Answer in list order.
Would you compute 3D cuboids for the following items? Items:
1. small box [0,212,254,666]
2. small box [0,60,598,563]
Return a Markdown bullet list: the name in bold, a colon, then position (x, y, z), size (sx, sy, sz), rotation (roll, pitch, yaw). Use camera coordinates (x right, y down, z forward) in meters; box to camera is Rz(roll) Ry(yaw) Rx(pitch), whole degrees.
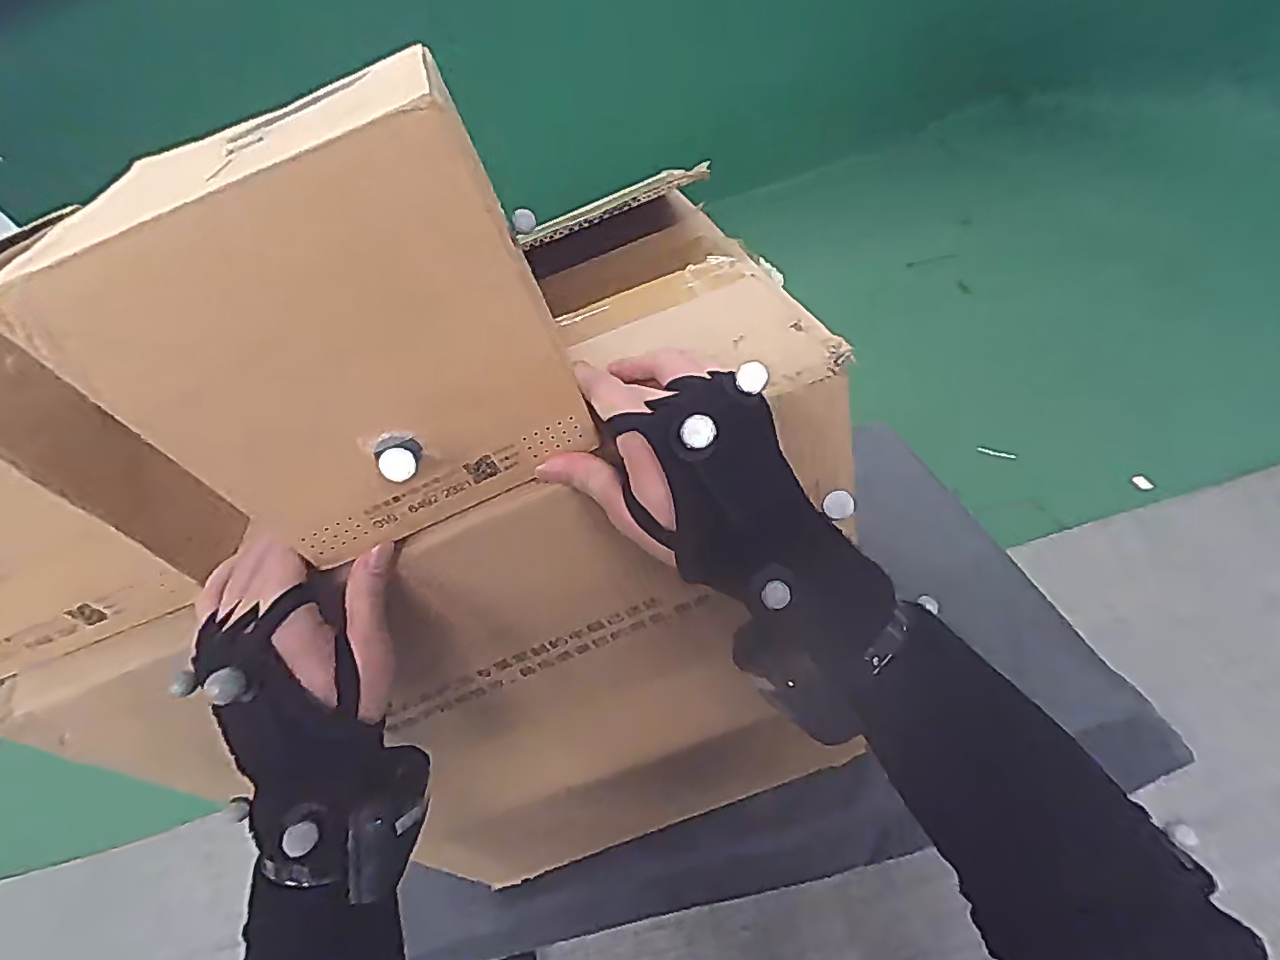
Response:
- **small box**: position (-0.349, -0.015, 0.311), size (0.168, 0.176, 0.179), rotation (-21, 44, 3)
- **small box**: position (-0.139, -0.088, 0.292), size (0.168, 0.176, 0.179), rotation (-24, 47, -1)
